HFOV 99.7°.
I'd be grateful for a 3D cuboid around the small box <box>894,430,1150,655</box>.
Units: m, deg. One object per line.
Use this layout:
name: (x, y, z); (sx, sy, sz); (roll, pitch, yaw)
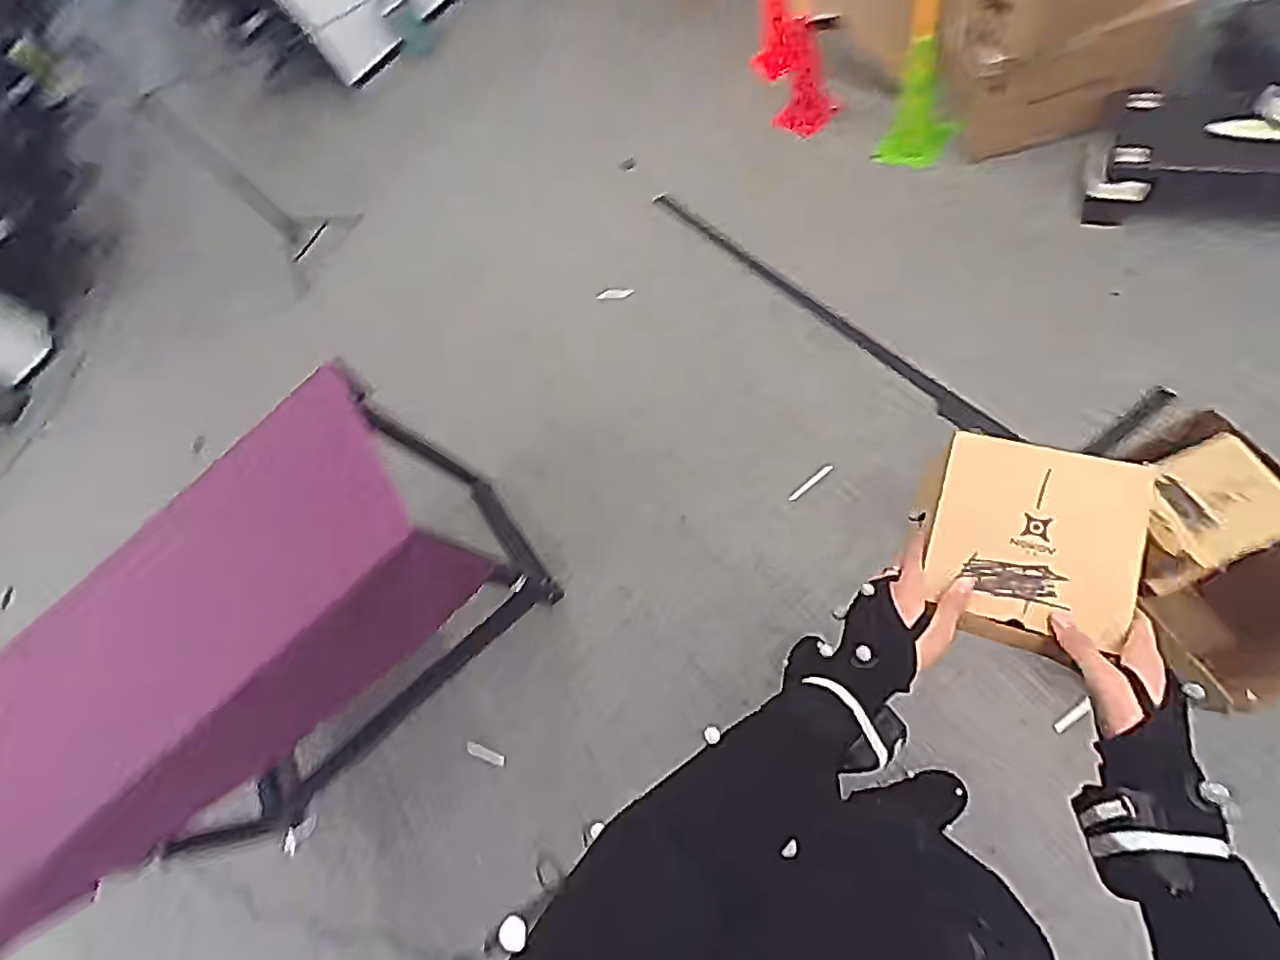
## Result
small box: (0.376, 0.069, 0.566); (0.168, 0.176, 0.179); (13, 79, 19)
